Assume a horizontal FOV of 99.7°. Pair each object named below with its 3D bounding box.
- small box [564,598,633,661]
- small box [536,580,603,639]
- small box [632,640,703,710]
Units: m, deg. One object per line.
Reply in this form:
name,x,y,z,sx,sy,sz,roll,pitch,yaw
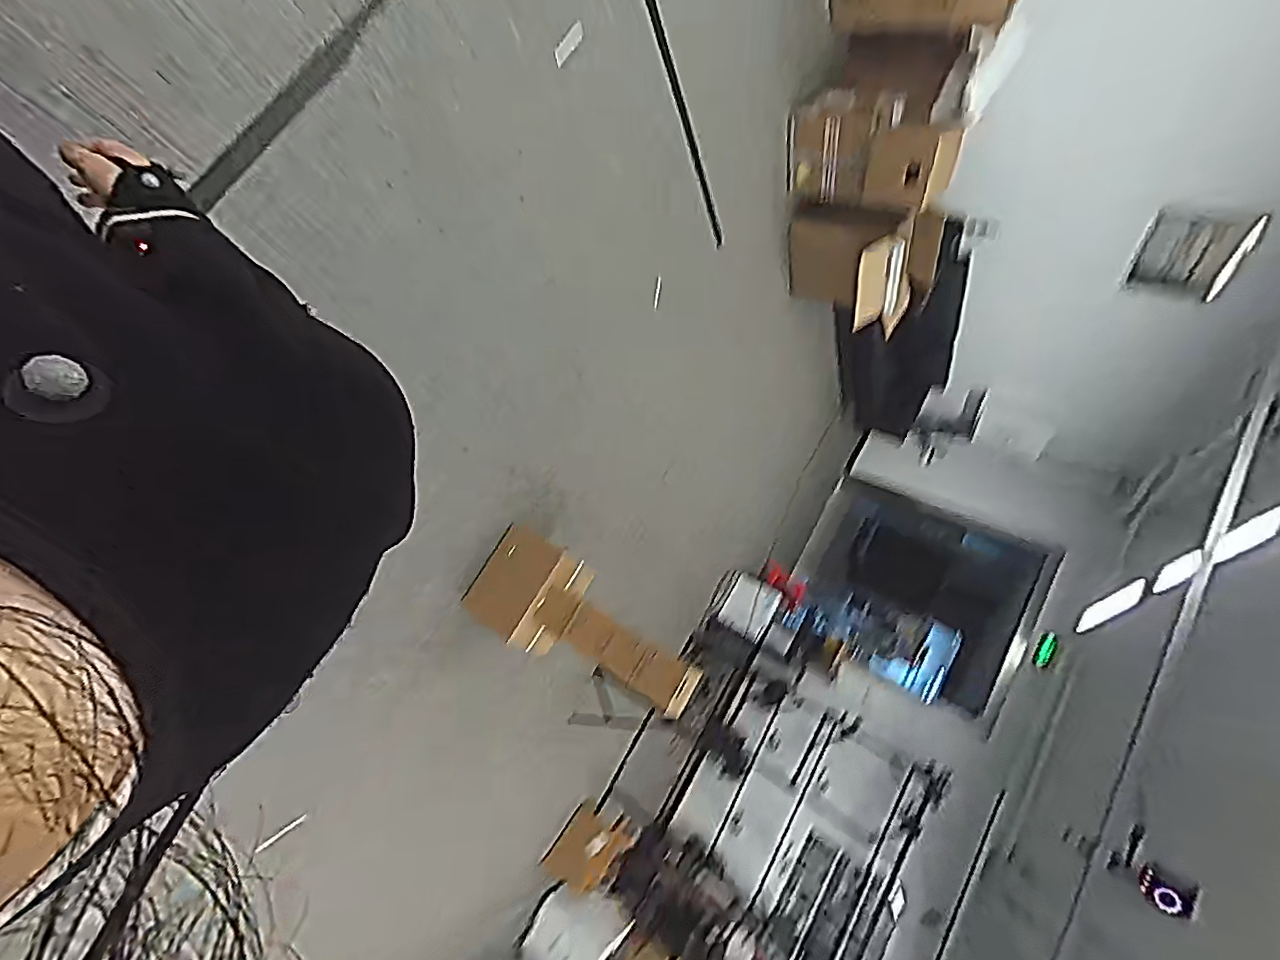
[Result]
small box,-0.160,0.576,2.091,0.168,0.176,0.179,-60,148,-11
small box,-0.287,0.526,2.179,0.179,0.176,0.168,-59,148,-9
small box,0.096,0.690,1.920,0.168,0.176,0.179,-58,149,-12
